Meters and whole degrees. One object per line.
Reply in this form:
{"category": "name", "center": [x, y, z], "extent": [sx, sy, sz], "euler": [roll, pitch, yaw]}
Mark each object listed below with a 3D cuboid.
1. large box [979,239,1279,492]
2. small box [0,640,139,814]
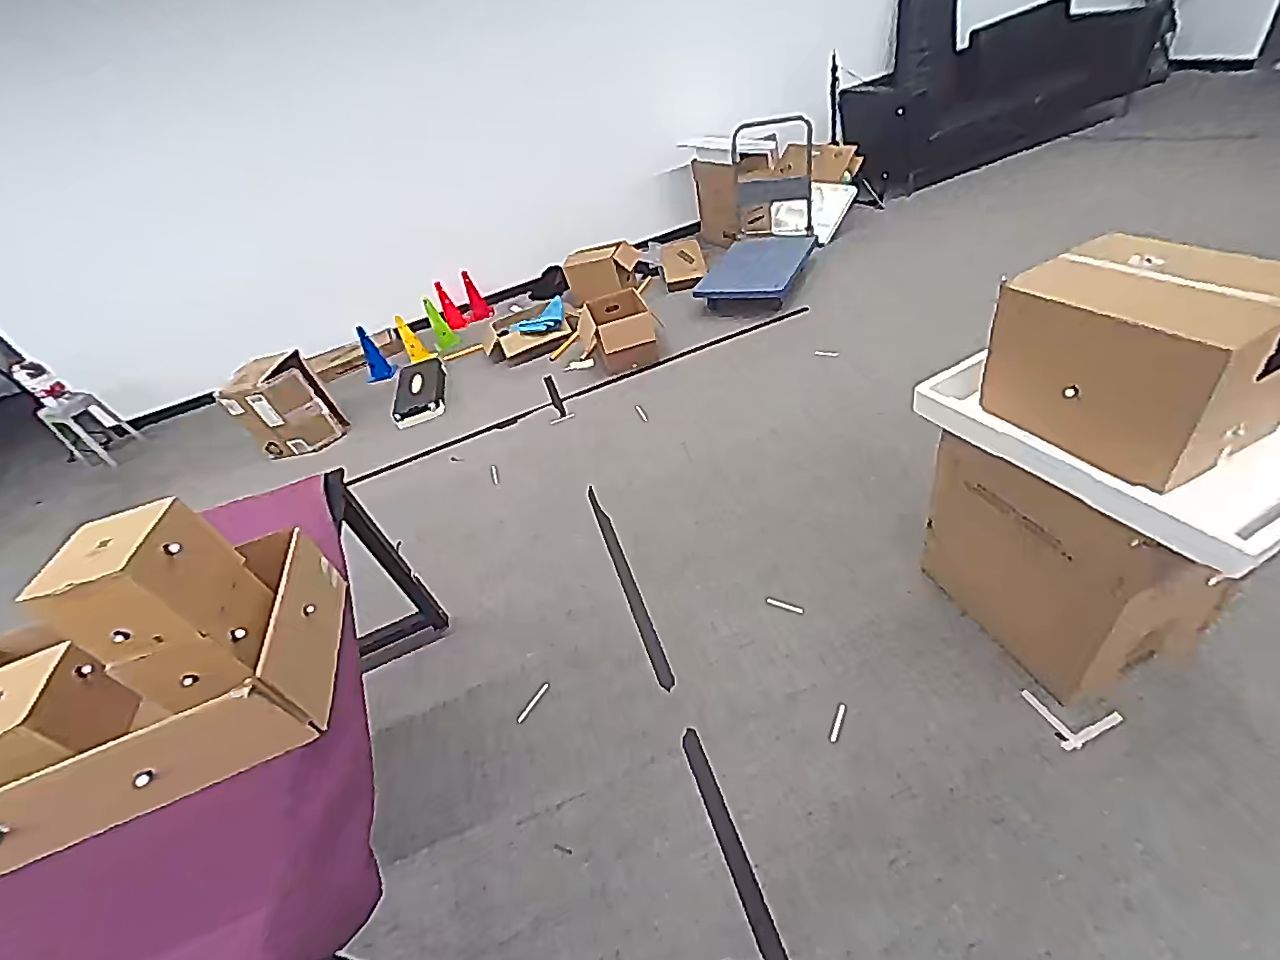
{"category": "large box", "center": [0.983, -0.244, 1.079], "extent": [0.320, 0.320, 0.408], "euler": [-24, 38, -10]}
{"category": "small box", "center": [-1.009, 0.413, 0.909], "extent": [0.168, 0.176, 0.179], "euler": [-23, 39, -10]}
